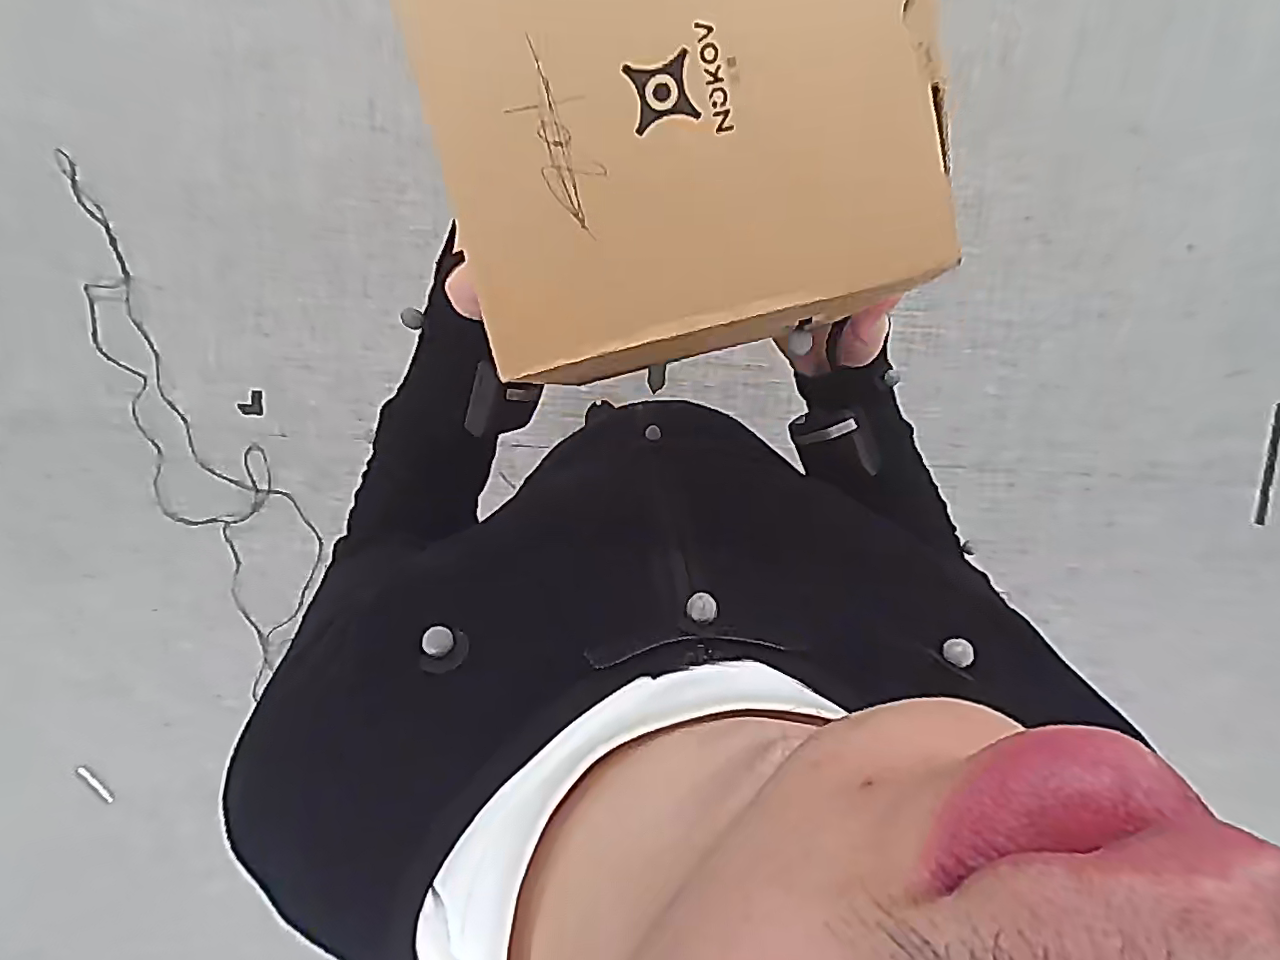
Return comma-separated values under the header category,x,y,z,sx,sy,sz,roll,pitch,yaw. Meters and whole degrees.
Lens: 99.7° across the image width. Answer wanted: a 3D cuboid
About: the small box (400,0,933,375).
category,x,y,z,sx,sy,sz,roll,pitch,yaw
small box,0.013,-0.156,0.278,0.179,0.176,0.168,-14,98,6
